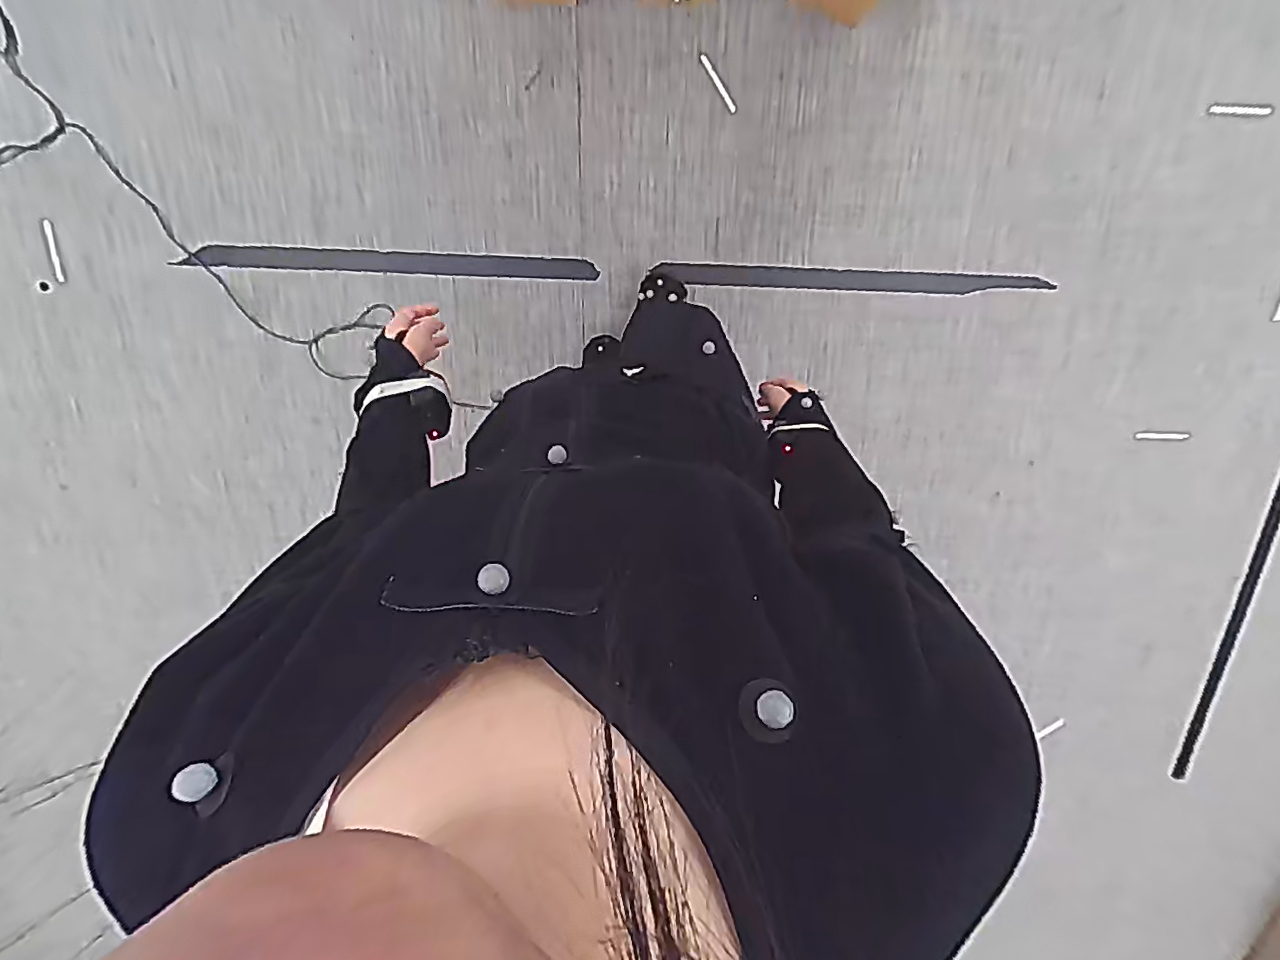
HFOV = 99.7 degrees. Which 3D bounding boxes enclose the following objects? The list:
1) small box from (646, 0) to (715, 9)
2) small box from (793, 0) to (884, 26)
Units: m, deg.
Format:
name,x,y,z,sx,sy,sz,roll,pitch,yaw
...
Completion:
name,x,y,z,sx,sy,sz,roll,pitch,yaw
small box,0.089,-1.114,1.102,0.168,0.176,0.179,0,107,-2
small box,0.445,-1.097,1.123,0.179,0.176,0.168,17,106,-6
